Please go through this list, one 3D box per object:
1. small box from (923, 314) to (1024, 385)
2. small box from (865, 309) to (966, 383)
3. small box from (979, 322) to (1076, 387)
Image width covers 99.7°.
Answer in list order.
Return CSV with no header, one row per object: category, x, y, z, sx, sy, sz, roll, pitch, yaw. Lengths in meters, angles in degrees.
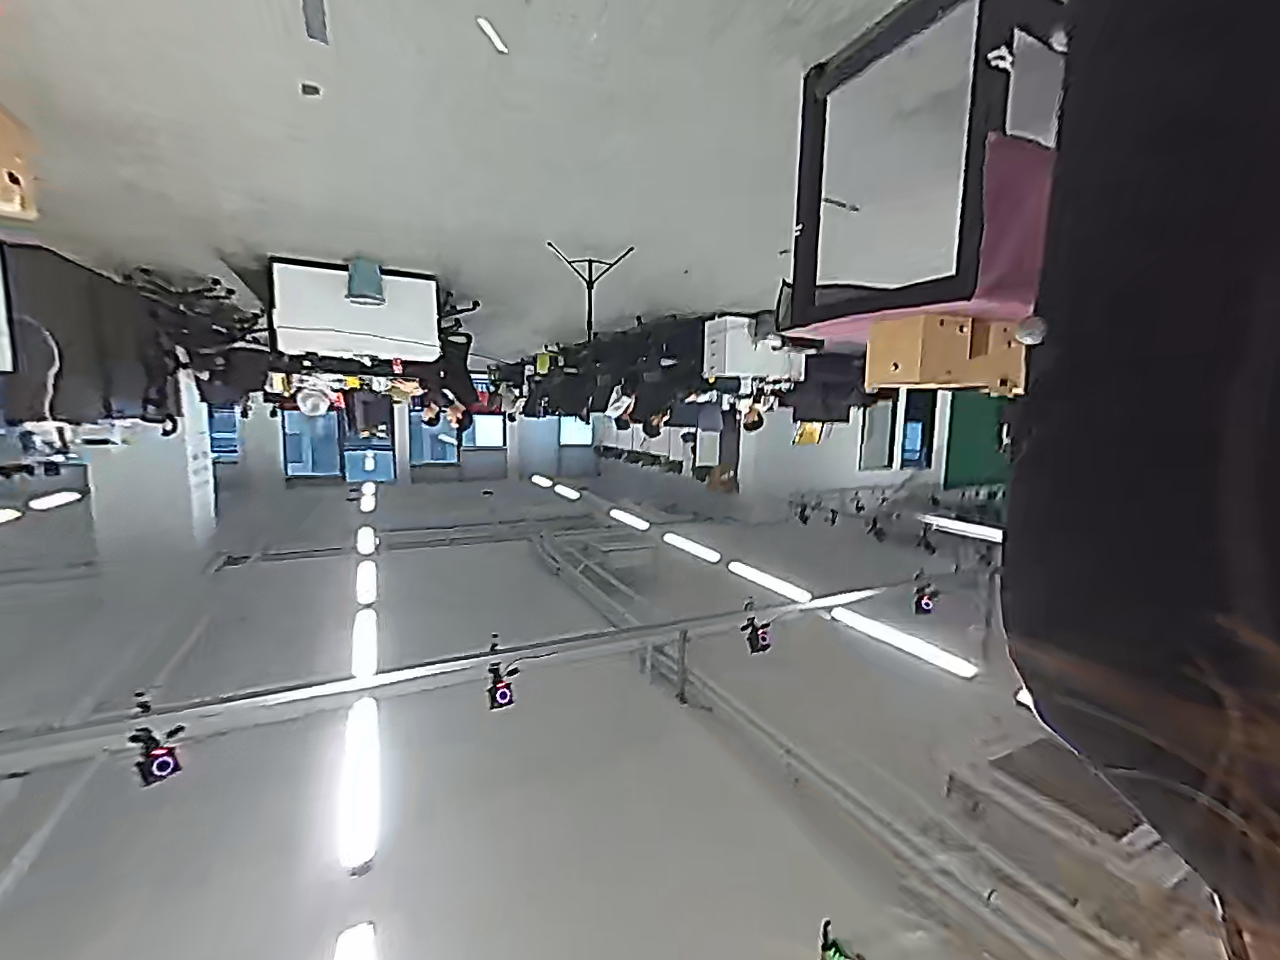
small box,0.906,-0.347,1.470,0.168,0.176,0.179,-4,-171,-28
small box,0.703,-0.338,1.383,0.168,0.176,0.179,-3,-171,-22
small box,1.129,-0.361,1.574,0.168,0.176,0.179,-1,-172,-18
